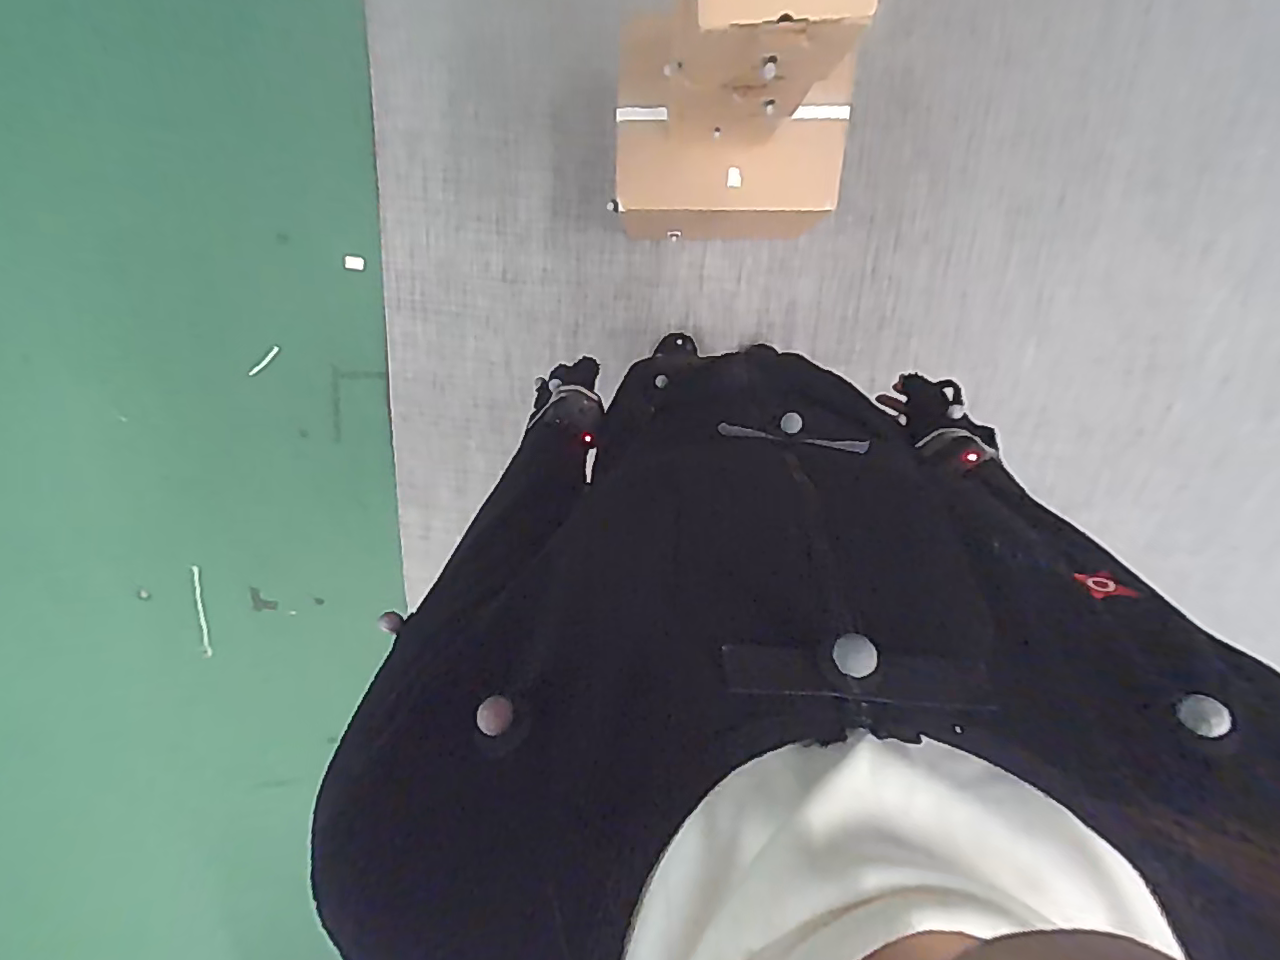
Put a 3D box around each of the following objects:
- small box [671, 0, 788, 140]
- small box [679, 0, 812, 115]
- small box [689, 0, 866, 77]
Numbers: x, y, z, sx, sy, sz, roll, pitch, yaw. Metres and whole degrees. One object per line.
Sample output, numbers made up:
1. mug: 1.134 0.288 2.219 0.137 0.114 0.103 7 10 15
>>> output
1. small box: 0.141 -0.653 0.858 0.179 0.176 0.168 2 112 4
2. small box: 0.135 -0.597 0.706 0.168 0.176 0.179 0 110 4
3. small box: 0.135 -0.538 0.554 0.168 0.176 0.179 1 112 5
